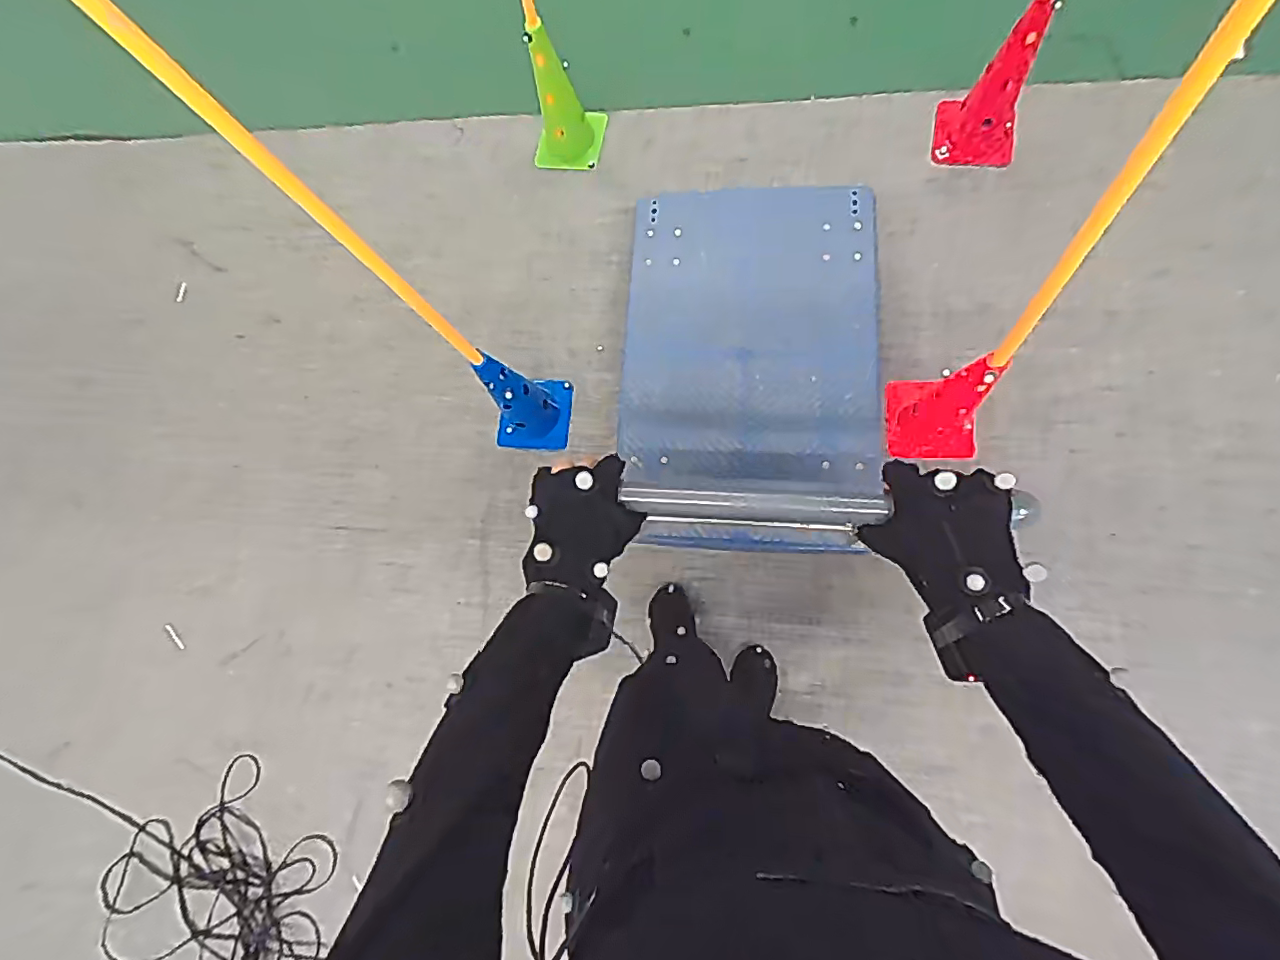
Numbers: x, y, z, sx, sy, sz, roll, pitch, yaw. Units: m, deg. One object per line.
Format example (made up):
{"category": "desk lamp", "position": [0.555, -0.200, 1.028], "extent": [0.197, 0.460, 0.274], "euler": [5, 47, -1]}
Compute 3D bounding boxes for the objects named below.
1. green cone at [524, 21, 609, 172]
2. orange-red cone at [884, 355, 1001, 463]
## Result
{"category": "green cone", "position": [-0.232, -1.074, 1.497], "extent": [0.202, 0.368, 0.200], "euler": [8, 79, 11]}
{"category": "orange-red cone", "position": [0.678, -0.176, 1.170], "extent": [0.199, 0.360, 0.198], "euler": [3, 78, 11]}
